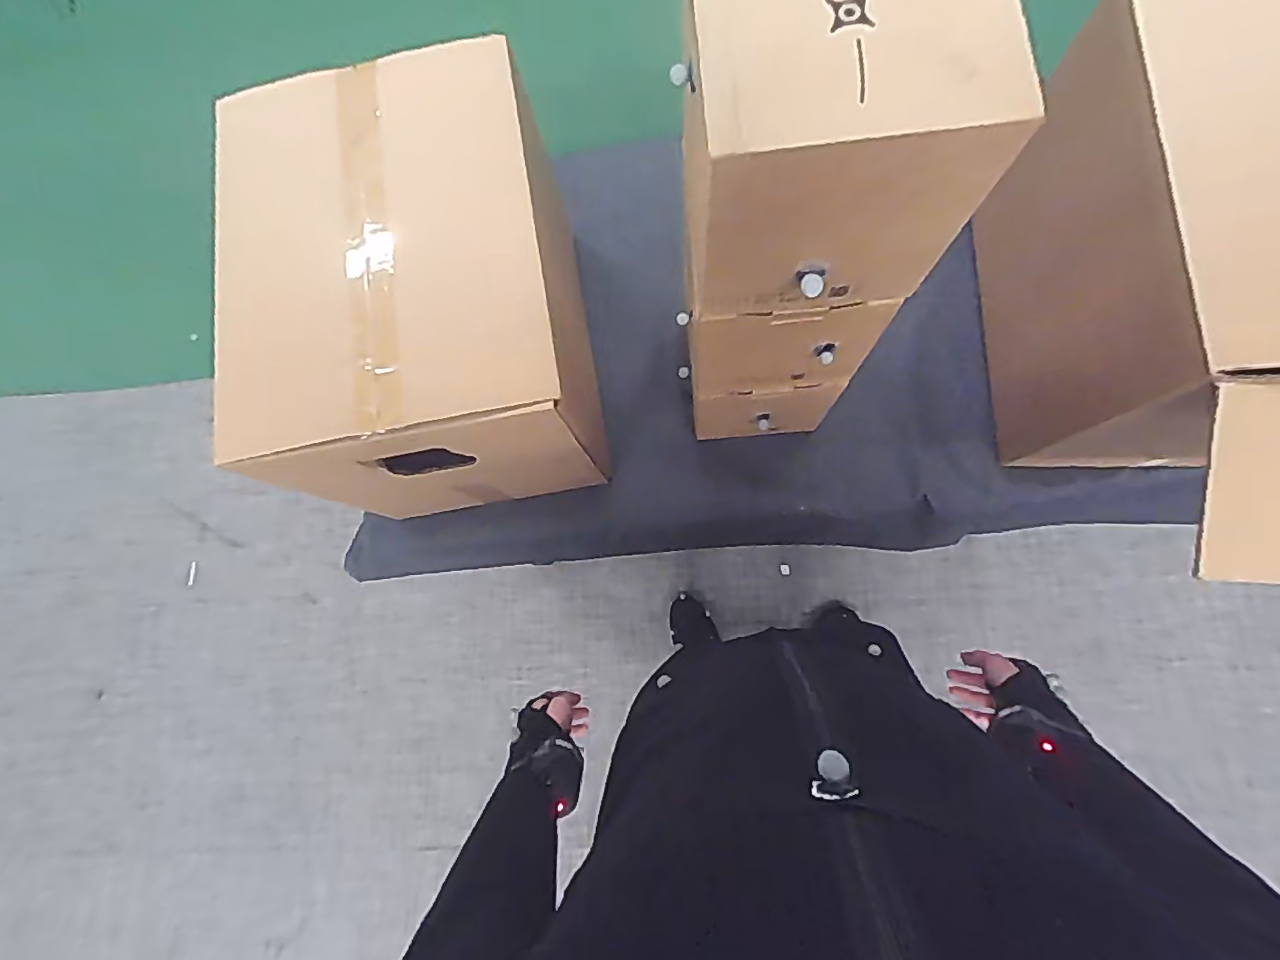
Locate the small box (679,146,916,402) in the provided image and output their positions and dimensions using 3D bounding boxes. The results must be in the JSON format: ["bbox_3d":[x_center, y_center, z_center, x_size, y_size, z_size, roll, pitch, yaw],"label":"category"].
[{"bbox_3d":[0.127,-0.180,0.497,0.168,0.176,0.179,-5,77,4],"label":"small box"}]

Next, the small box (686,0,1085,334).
[{"bbox_3d":[0.116,-0.214,0.337,0.168,0.176,0.179,-5,79,4],"label":"small box"}]
